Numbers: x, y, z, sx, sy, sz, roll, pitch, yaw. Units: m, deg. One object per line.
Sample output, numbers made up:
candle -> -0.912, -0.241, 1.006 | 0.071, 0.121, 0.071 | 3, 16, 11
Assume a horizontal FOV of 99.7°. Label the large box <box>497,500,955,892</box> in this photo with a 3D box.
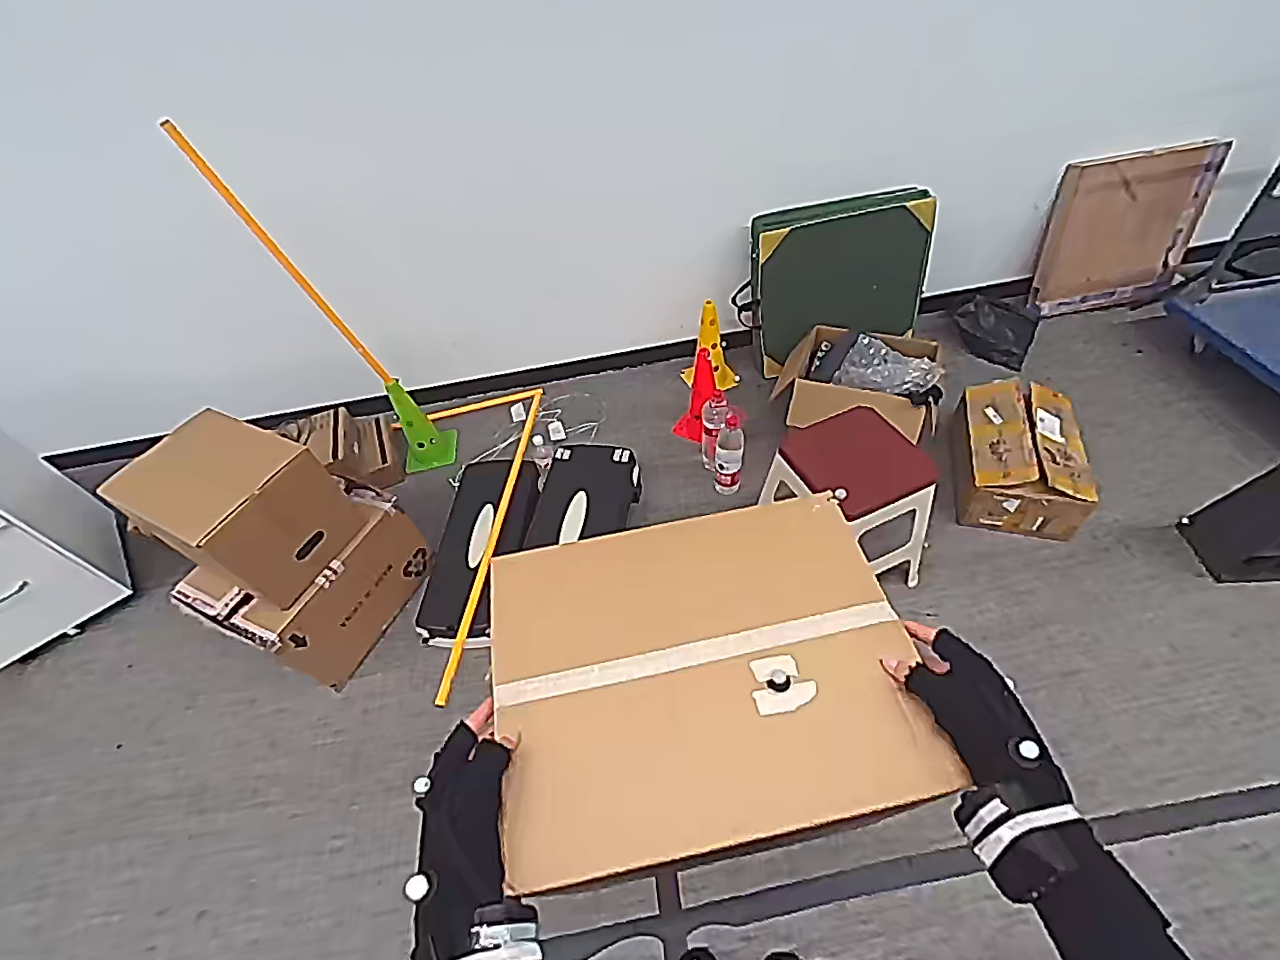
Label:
large box -> 0.065, 0.270, 0.665 | 0.408, 0.320, 0.320 | -11, 53, -4
